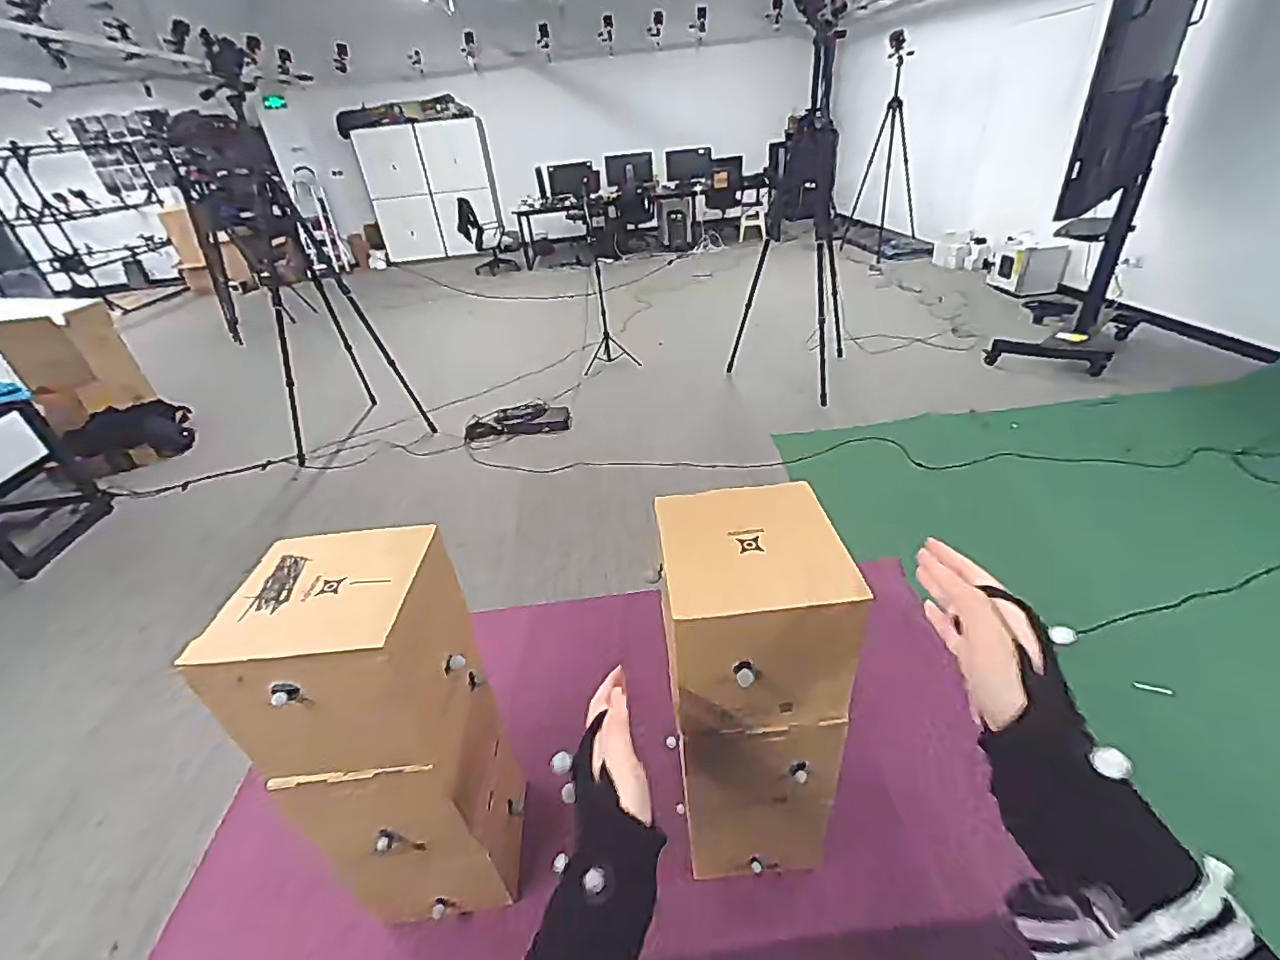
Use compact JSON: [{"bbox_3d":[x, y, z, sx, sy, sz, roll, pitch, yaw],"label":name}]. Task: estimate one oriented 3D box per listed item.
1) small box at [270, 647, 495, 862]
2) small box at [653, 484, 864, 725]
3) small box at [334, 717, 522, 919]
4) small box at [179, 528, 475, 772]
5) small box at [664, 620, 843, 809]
[{"bbox_3d":[-0.277,0.308,0.636,0.168,0.176,0.179,-7,33,0],"label":"small box"},{"bbox_3d":[0.107,0.127,0.551,0.168,0.176,0.179,-6,33,-1],"label":"small box"},{"bbox_3d":[-0.262,0.449,0.722,0.179,0.176,0.168,-7,33,-3],"label":"small box"},{"bbox_3d":[-0.287,0.170,0.547,0.179,0.176,0.168,-5,33,0],"label":"small box"},{"bbox_3d":[0.123,0.263,0.640,0.168,0.176,0.179,-7,33,-1],"label":"small box"}]
